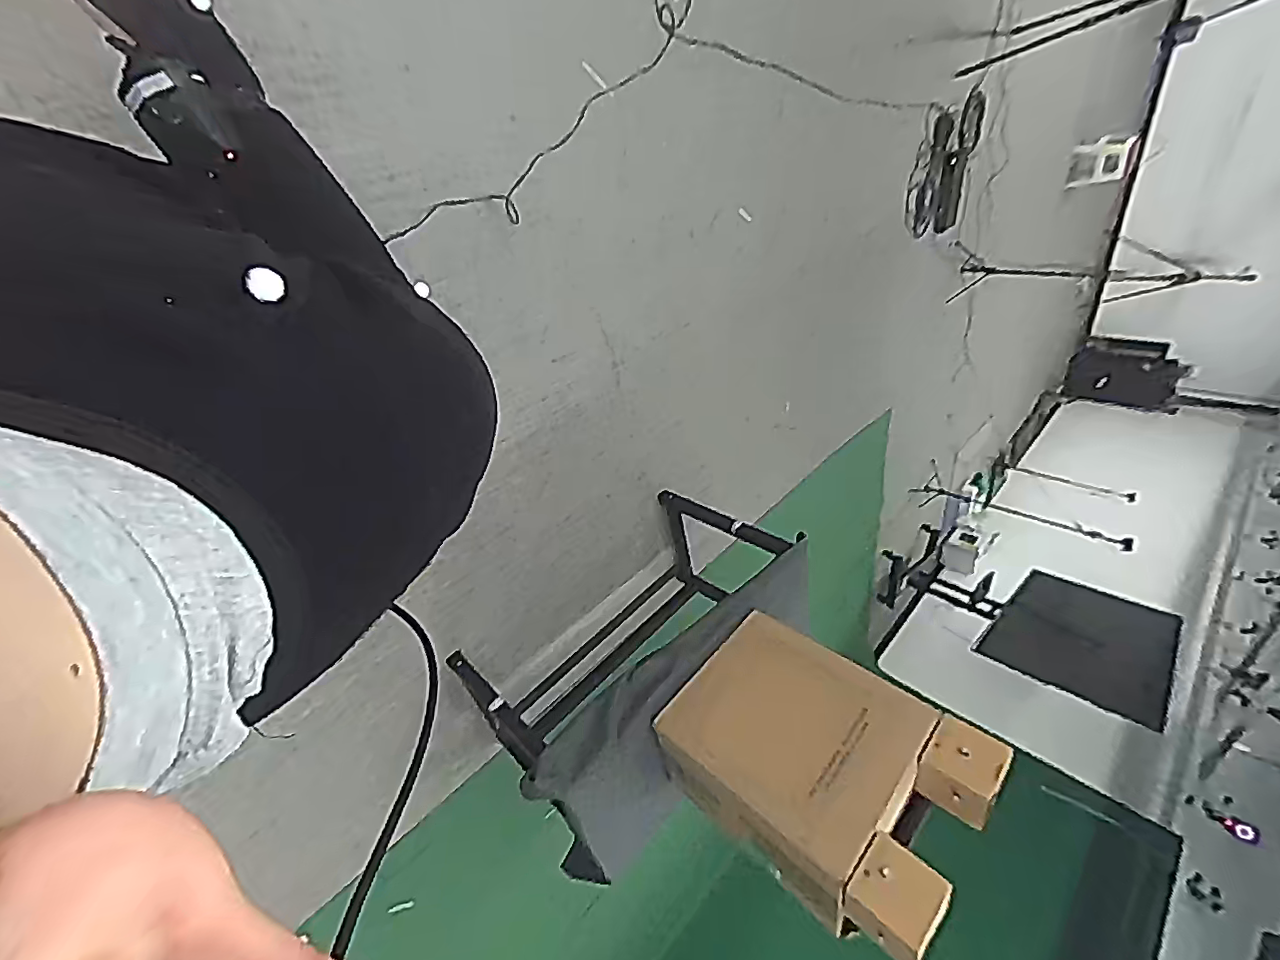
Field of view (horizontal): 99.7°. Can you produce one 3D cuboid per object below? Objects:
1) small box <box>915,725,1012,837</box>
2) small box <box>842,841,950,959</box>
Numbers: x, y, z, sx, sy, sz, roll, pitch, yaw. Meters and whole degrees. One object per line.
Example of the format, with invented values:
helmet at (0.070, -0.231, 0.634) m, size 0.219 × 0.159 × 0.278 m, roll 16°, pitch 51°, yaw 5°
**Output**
small box at (0.849, 0.785, 1.431) m, size 0.168 × 0.176 × 0.179 m, roll -37°, pitch 131°, yaw -29°
small box at (0.583, 0.986, 1.249) m, size 0.168 × 0.176 × 0.179 m, roll -37°, pitch 130°, yaw -28°
